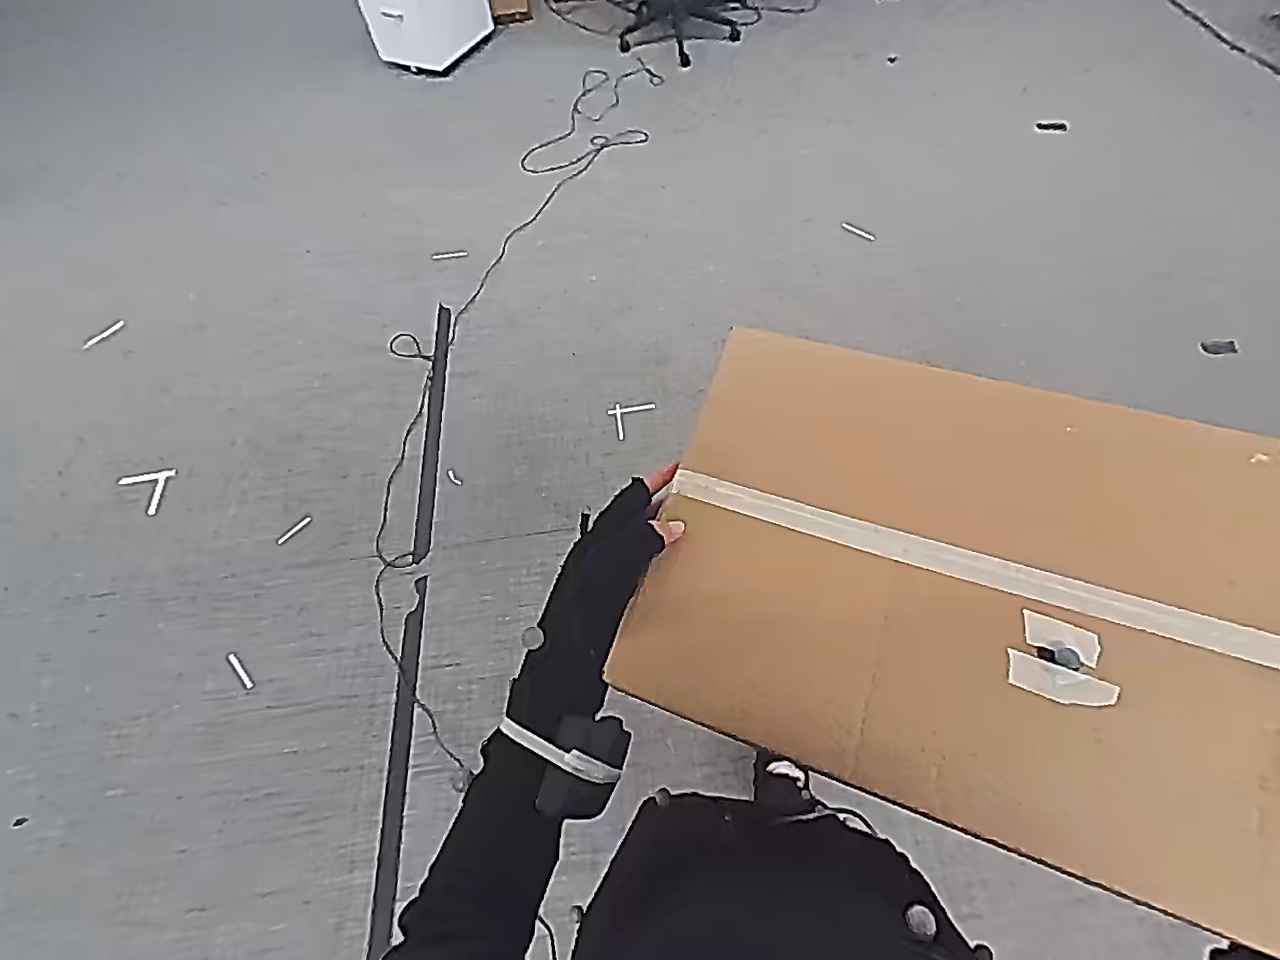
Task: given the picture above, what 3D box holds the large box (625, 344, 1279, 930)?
[{"bbox_3d":[0.238,0.119,0.522,0.408,0.320,0.320,17,70,14],"label":"large box"}]
